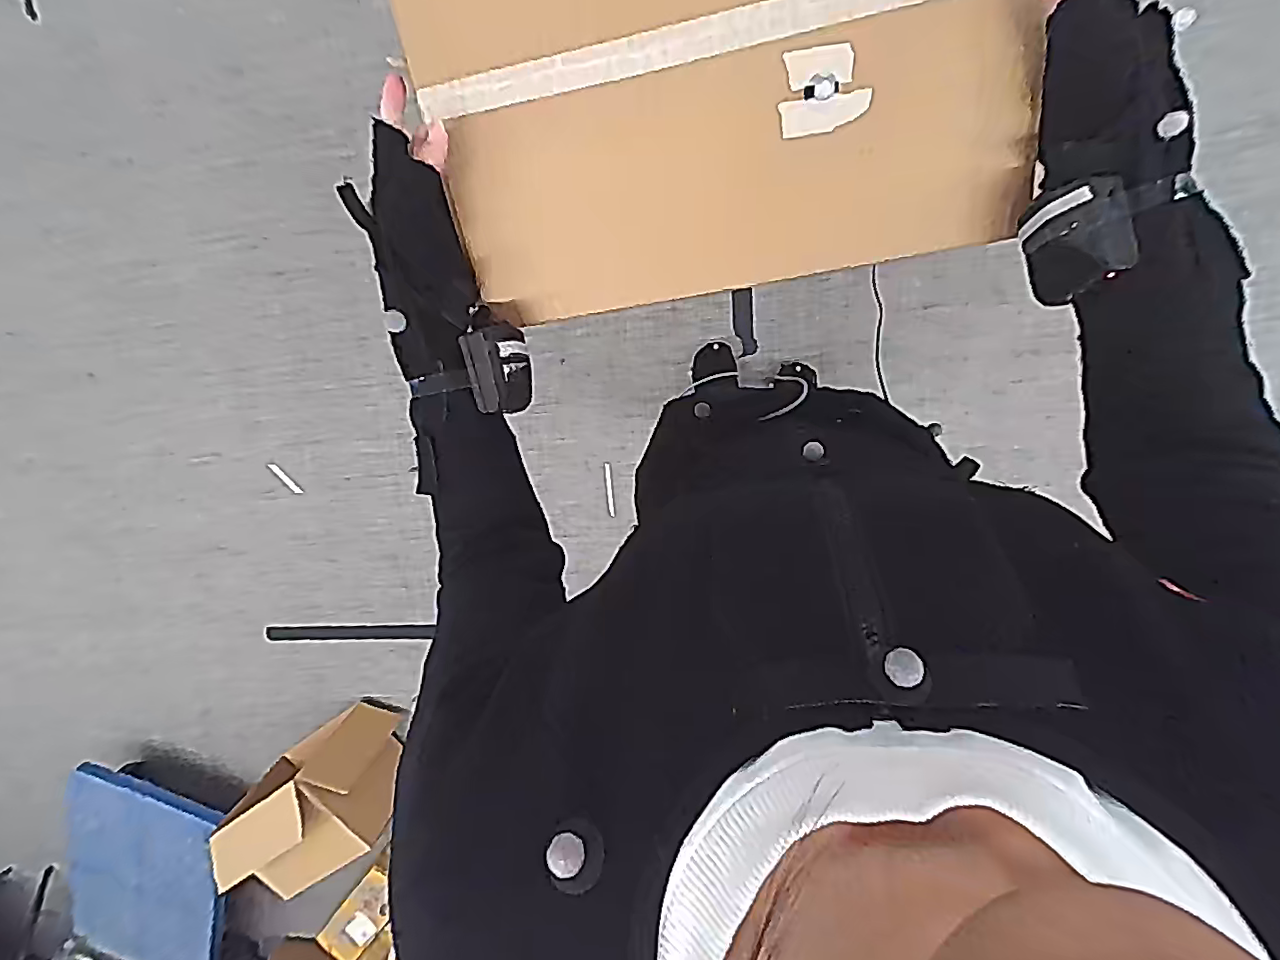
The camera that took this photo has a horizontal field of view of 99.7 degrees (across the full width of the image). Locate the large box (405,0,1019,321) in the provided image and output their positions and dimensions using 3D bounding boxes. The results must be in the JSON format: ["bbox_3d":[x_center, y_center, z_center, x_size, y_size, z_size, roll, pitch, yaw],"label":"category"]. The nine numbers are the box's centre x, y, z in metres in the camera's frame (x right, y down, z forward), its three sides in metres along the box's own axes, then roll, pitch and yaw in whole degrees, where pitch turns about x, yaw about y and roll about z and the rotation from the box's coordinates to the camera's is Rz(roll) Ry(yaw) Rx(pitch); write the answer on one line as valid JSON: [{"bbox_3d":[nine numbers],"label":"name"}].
[{"bbox_3d":[0.053,-0.354,0.502,0.408,0.320,0.320,-9,112,7],"label":"large box"}]
